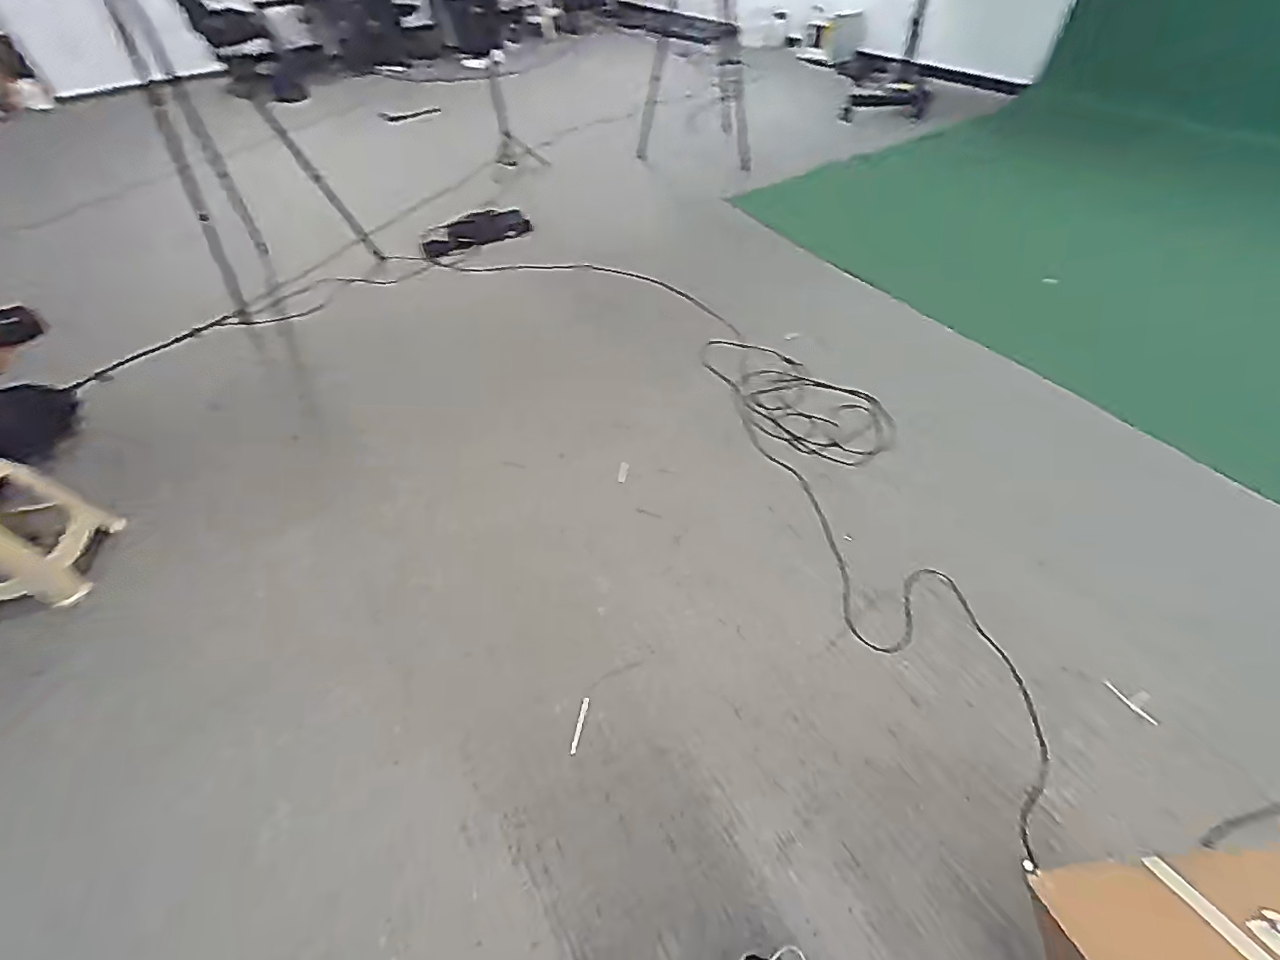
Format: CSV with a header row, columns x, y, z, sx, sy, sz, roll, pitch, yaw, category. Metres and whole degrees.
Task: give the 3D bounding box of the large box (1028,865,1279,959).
x,y,z,sx,sy,sz,roll,pitch,yaw,category
0.690,0.684,0.530,0.320,0.408,0.320,-13,88,9,large box
